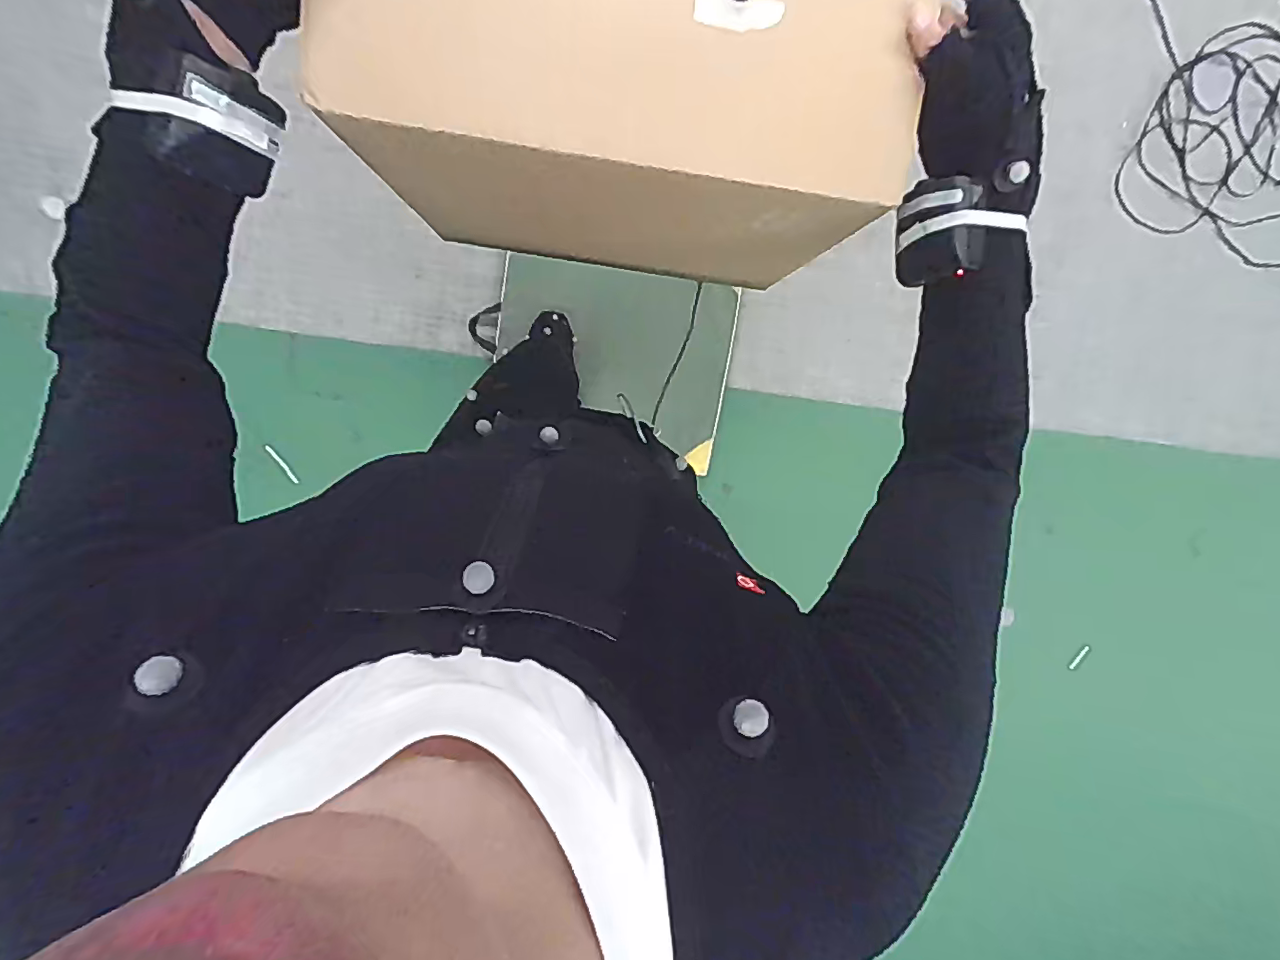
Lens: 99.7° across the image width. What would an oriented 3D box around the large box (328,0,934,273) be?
[{"bbox_3d":[-0.005,-0.403,0.493,0.408,0.320,0.320,6,99,-7],"label":"large box"}]
